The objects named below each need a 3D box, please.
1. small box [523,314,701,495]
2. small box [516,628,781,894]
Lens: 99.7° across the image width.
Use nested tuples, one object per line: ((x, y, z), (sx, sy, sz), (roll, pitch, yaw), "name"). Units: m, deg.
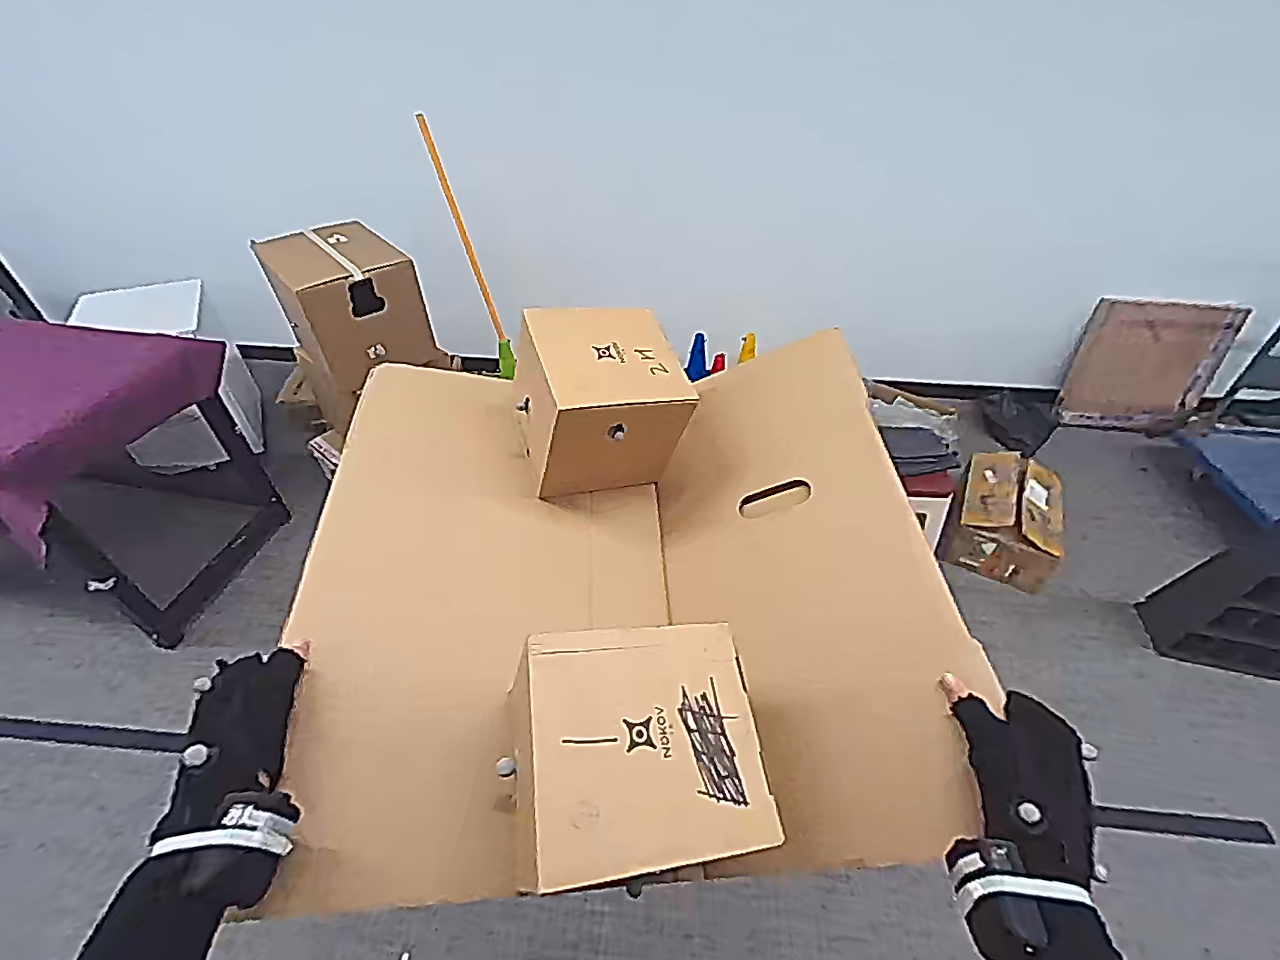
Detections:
((-0.051, -0.094, 0.703), (0.179, 0.176, 0.168), (-7, 57, -24), "small box")
((-0.011, 0.238, 0.468), (0.179, 0.176, 0.168), (1, 55, -17), "small box")
